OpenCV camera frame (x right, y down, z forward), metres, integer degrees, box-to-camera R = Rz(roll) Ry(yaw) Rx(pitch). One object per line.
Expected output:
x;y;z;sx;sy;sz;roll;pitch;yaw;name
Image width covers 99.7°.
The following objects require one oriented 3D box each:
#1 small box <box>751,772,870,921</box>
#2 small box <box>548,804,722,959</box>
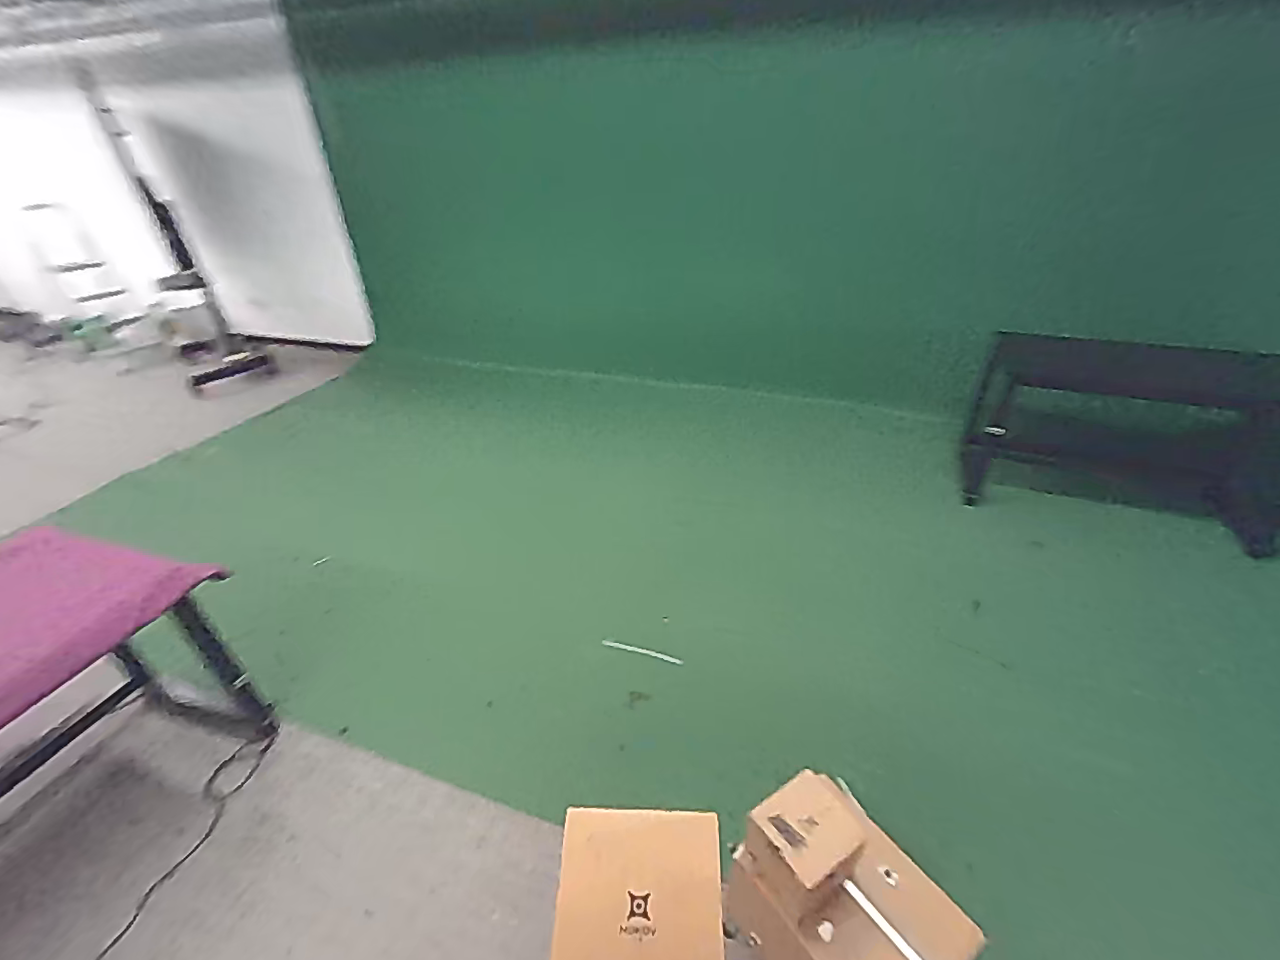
0.348;0.771;1.138;0.179;0.176;0.168;-20;38;-25;small box
-0.003;0.470;0.587;0.168;0.176;0.179;0;50;2;small box
